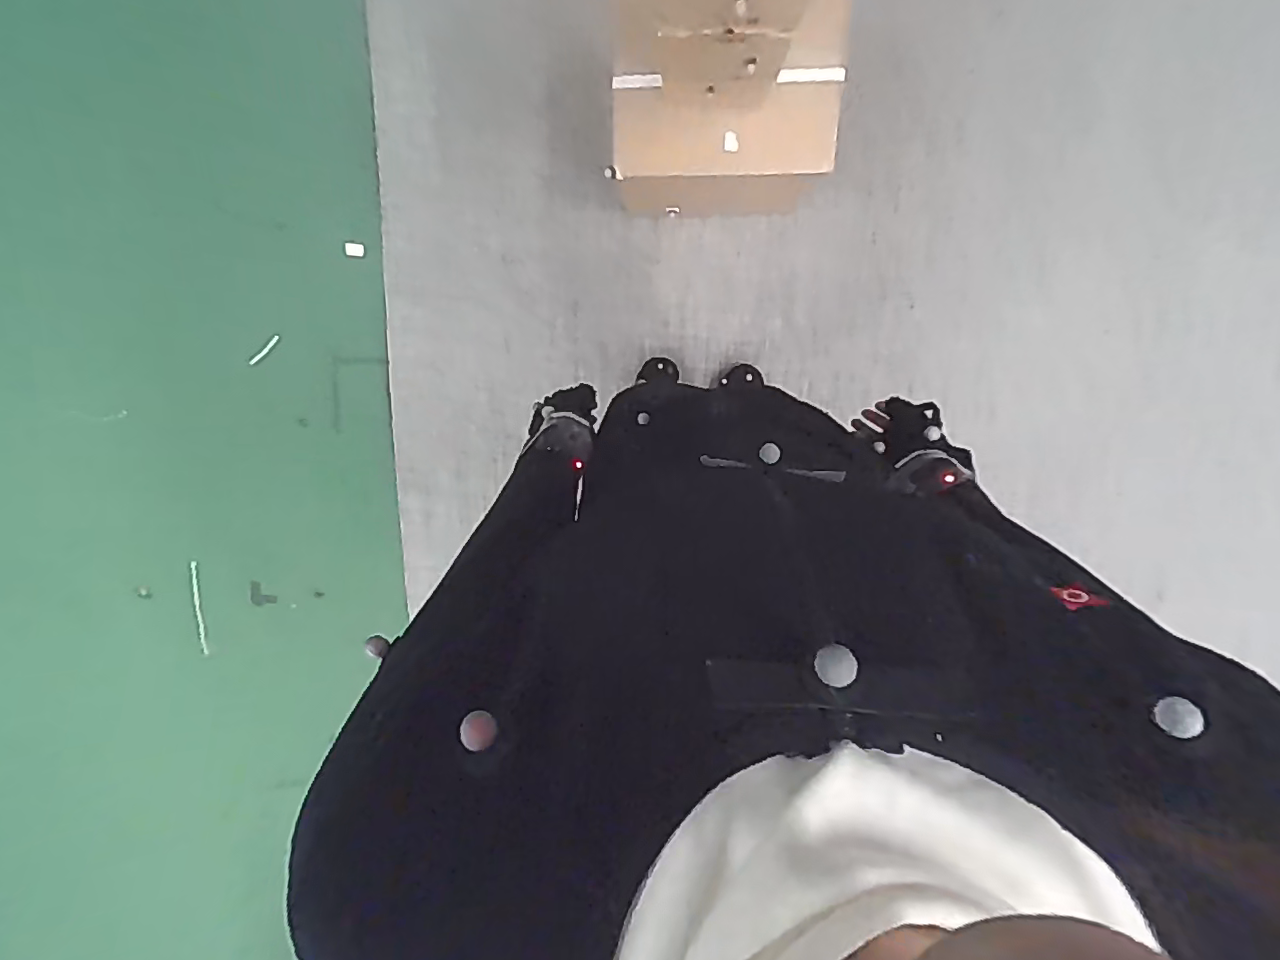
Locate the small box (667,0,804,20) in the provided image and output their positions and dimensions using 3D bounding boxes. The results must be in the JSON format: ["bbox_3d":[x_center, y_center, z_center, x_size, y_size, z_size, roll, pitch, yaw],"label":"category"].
[{"bbox_3d":[0.109,-0.612,0.558,0.168,0.176,0.179,2,110,3],"label":"small box"}]

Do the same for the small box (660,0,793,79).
[{"bbox_3d":[0.113,-0.659,0.715,0.168,0.176,0.179,1,108,3],"label":"small box"}]

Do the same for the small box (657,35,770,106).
[{"bbox_3d":[0.126,-0.723,0.860,0.179,0.176,0.168,8,108,2],"label":"small box"}]
